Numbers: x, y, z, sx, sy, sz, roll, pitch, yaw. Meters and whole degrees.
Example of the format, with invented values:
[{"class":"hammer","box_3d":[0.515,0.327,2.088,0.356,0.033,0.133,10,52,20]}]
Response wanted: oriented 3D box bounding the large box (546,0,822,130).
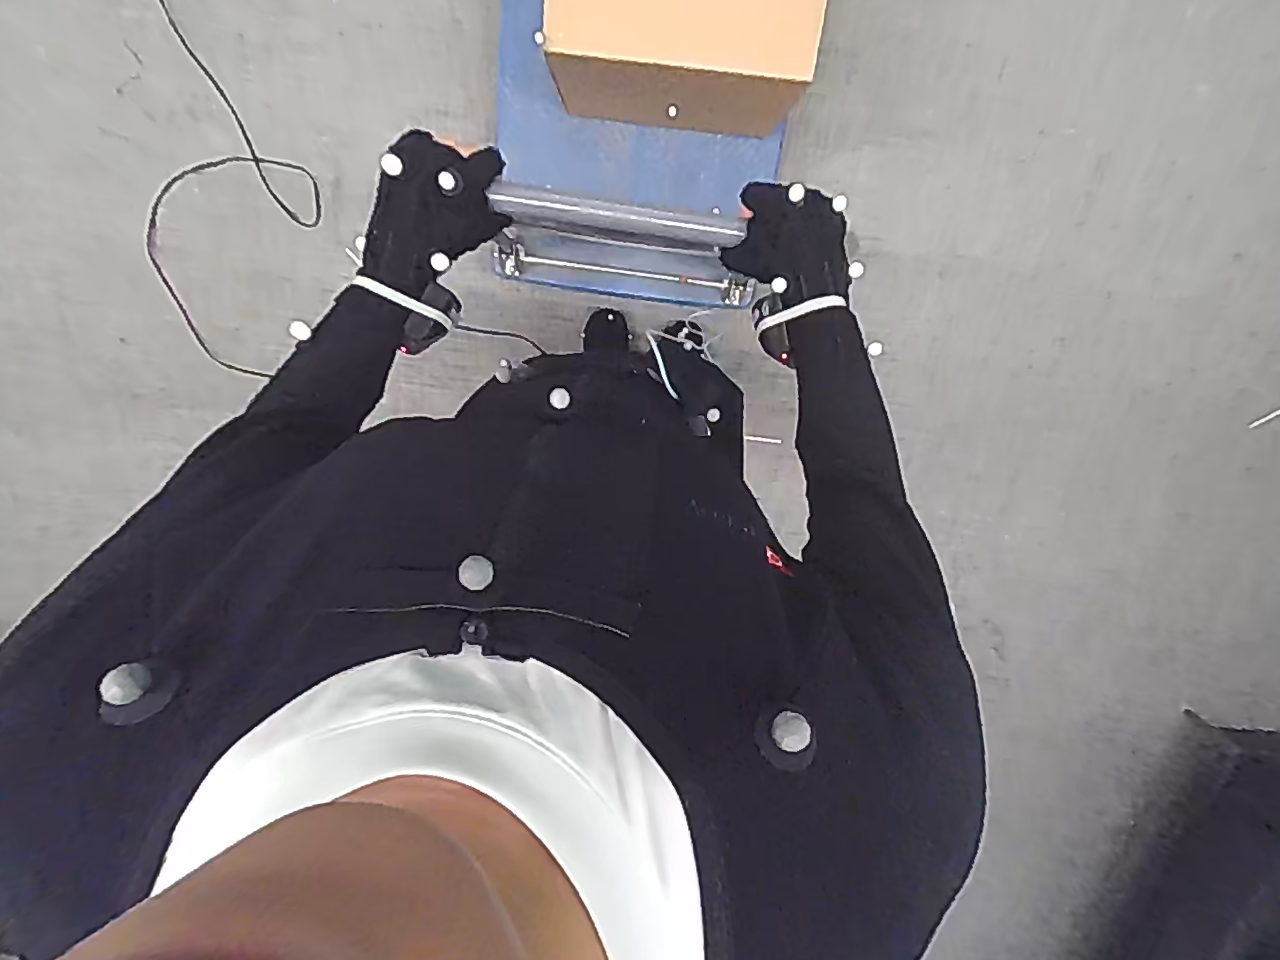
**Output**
[{"class":"large box","box_3d":[0.075,-0.812,0.900,0.408,0.320,0.320,6,108,-1]}]
